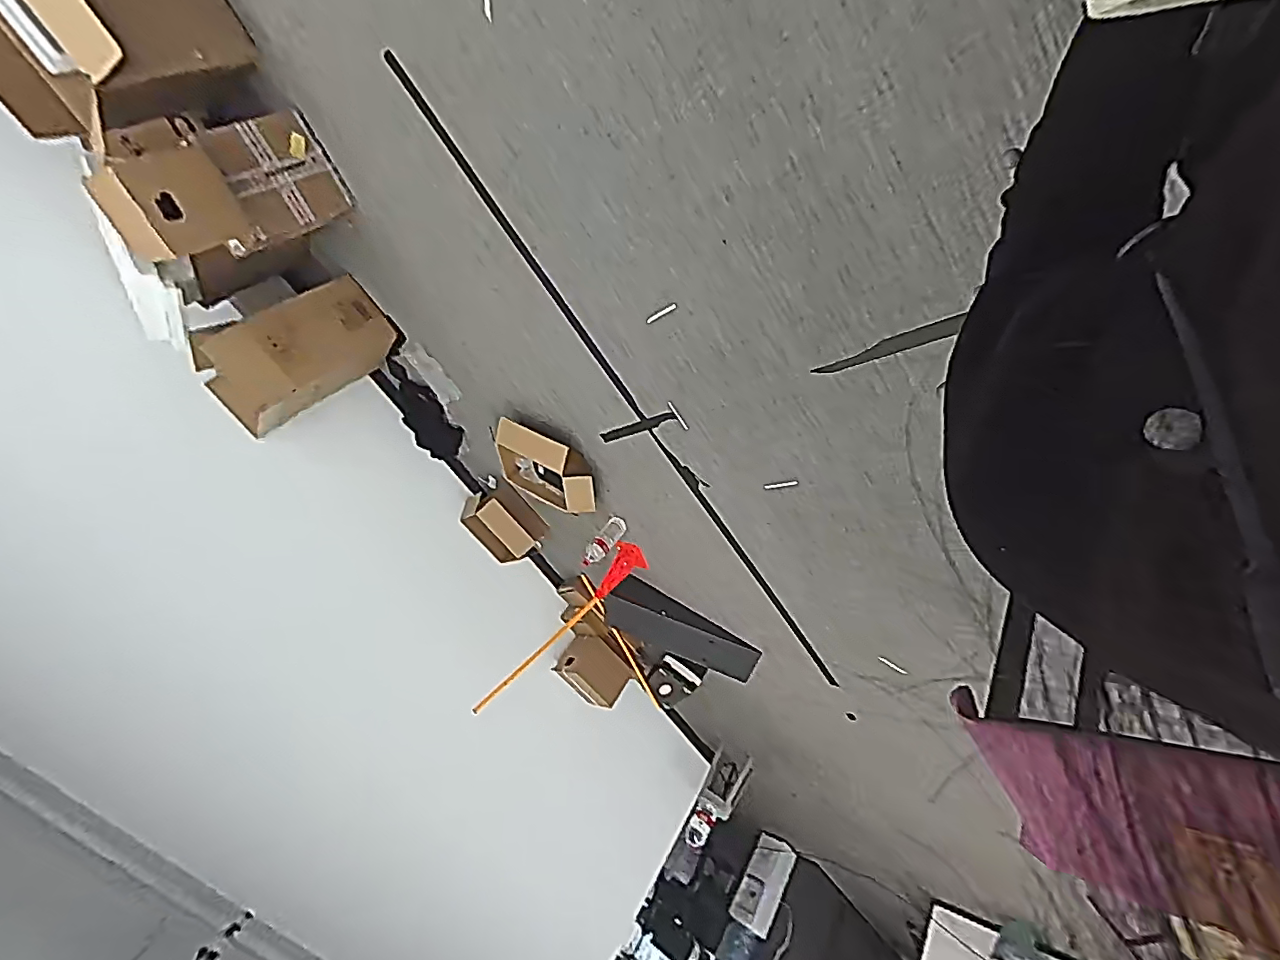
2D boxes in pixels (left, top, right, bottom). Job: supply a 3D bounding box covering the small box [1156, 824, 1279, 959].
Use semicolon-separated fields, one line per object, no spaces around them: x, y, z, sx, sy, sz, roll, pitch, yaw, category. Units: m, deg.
1.067;0.780;0.987;0.168;0.176;0.179;-5;125;47;small box
